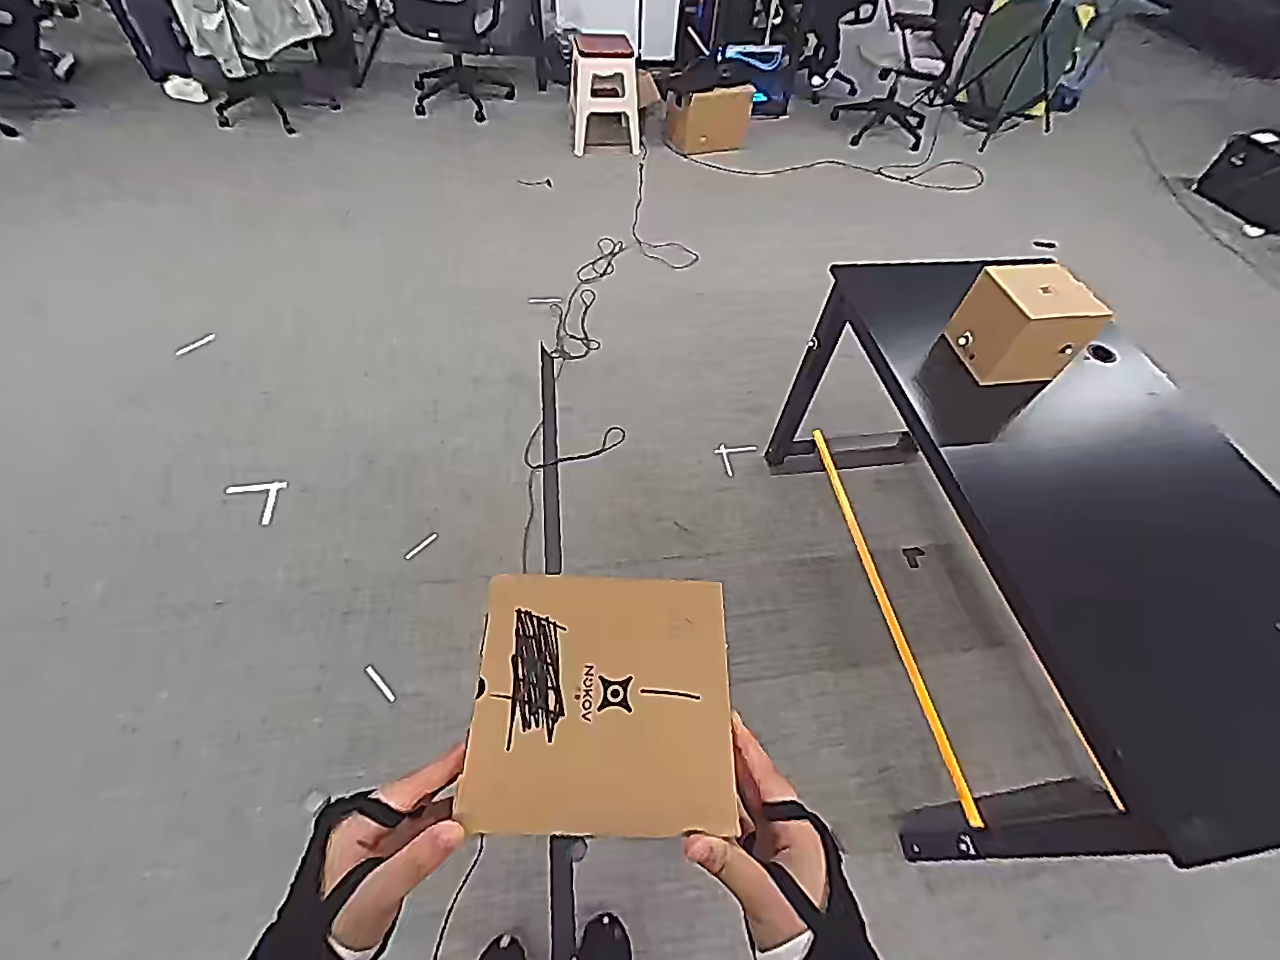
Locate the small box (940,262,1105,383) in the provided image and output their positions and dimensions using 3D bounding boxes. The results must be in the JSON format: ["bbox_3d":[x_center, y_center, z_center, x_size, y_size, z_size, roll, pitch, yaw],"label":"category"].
[{"bbox_3d":[0.758,-0.315,1.093,0.179,0.176,0.168,-7,54,-8],"label":"small box"}]

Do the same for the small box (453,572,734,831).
[{"bbox_3d":[-0.031,0.185,0.439,0.179,0.176,0.168,3,58,-3],"label":"small box"}]
